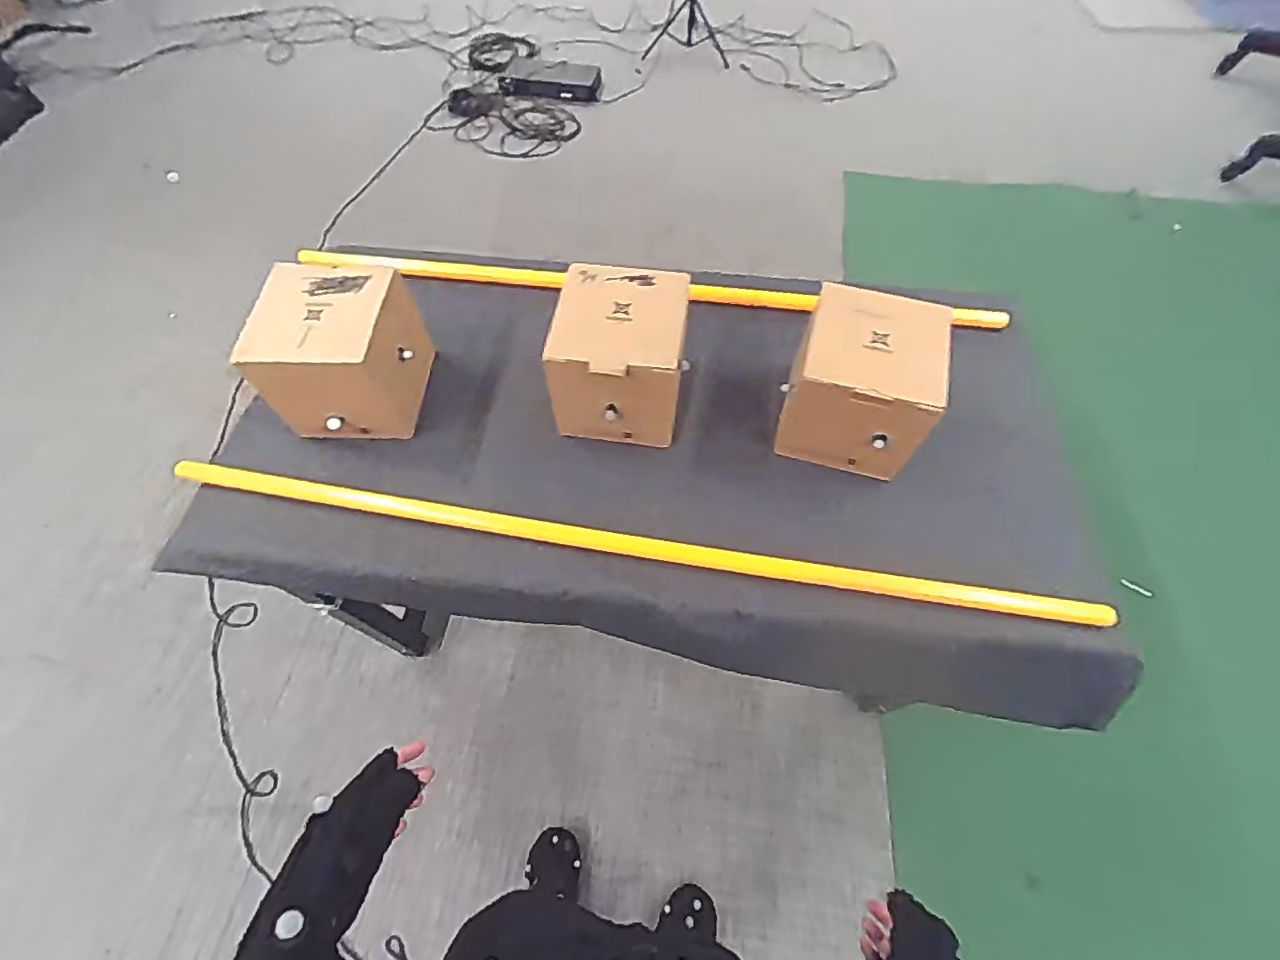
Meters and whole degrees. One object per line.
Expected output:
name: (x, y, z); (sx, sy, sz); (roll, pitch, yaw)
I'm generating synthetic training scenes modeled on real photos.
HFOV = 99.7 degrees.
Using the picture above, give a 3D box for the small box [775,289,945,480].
small box: (0.291, -0.124, 0.739); (0.168, 0.176, 0.179); (15, 60, 7)

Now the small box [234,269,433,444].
small box: (-0.410, -0.171, 0.765); (0.168, 0.176, 0.179); (1, 61, 1)

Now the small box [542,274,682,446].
small box: (-0.028, -0.164, 0.765); (0.168, 0.176, 0.179); (4, 59, 4)
